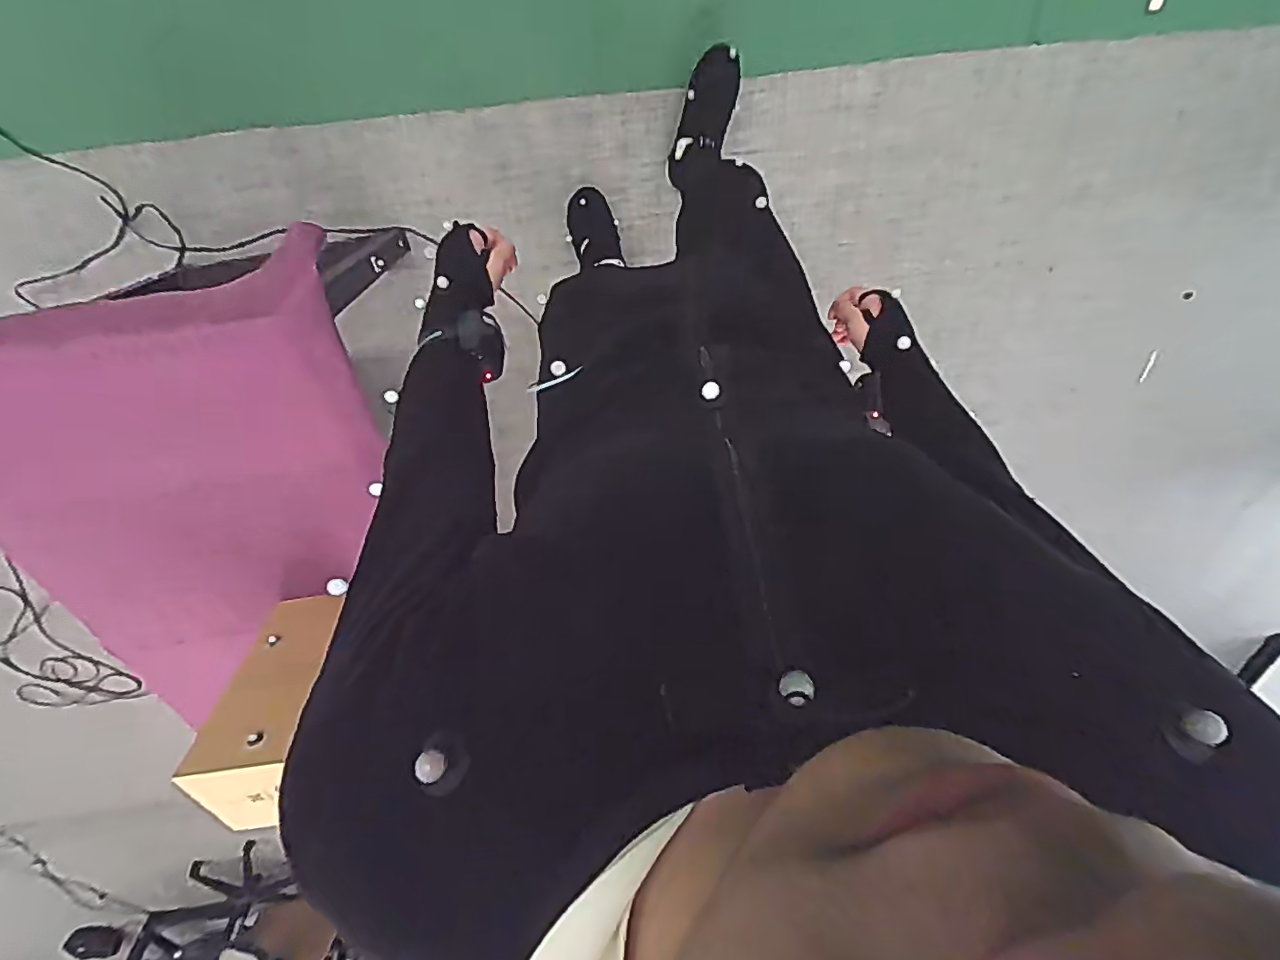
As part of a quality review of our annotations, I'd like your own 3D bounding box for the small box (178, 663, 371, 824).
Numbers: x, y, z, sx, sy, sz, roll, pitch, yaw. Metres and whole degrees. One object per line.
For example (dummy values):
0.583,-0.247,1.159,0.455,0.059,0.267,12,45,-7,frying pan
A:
-0.555,0.411,0.860,0.179,0.176,0.168,-8,125,0,small box
